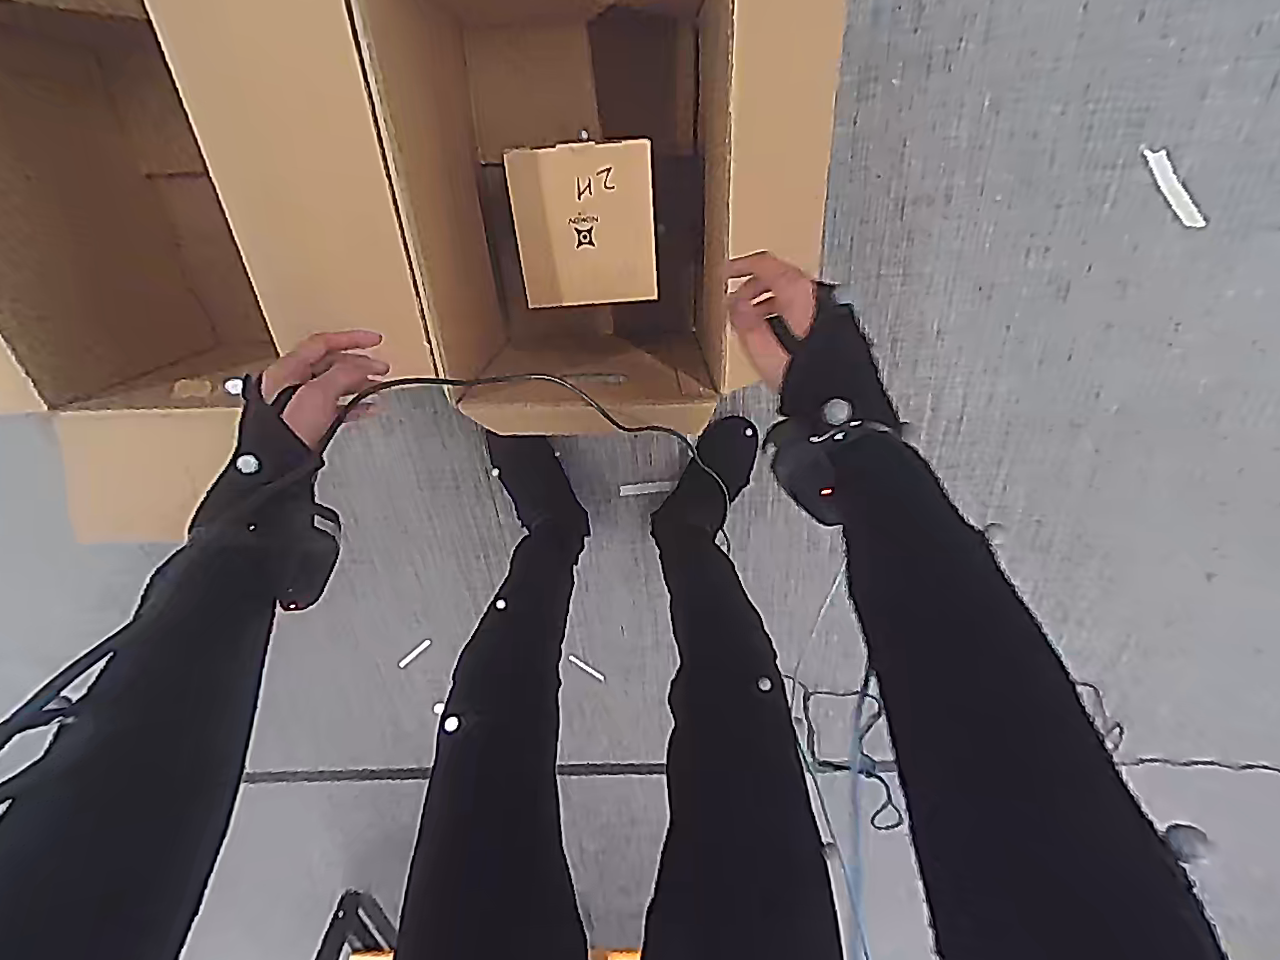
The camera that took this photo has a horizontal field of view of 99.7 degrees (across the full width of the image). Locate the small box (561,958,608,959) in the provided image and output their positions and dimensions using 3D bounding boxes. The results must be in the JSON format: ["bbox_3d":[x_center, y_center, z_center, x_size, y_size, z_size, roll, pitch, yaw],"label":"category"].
[{"bbox_3d":[-0.186,1.631,1.690,0.179,0.176,0.168,-4,119,4],"label":"small box"}]
